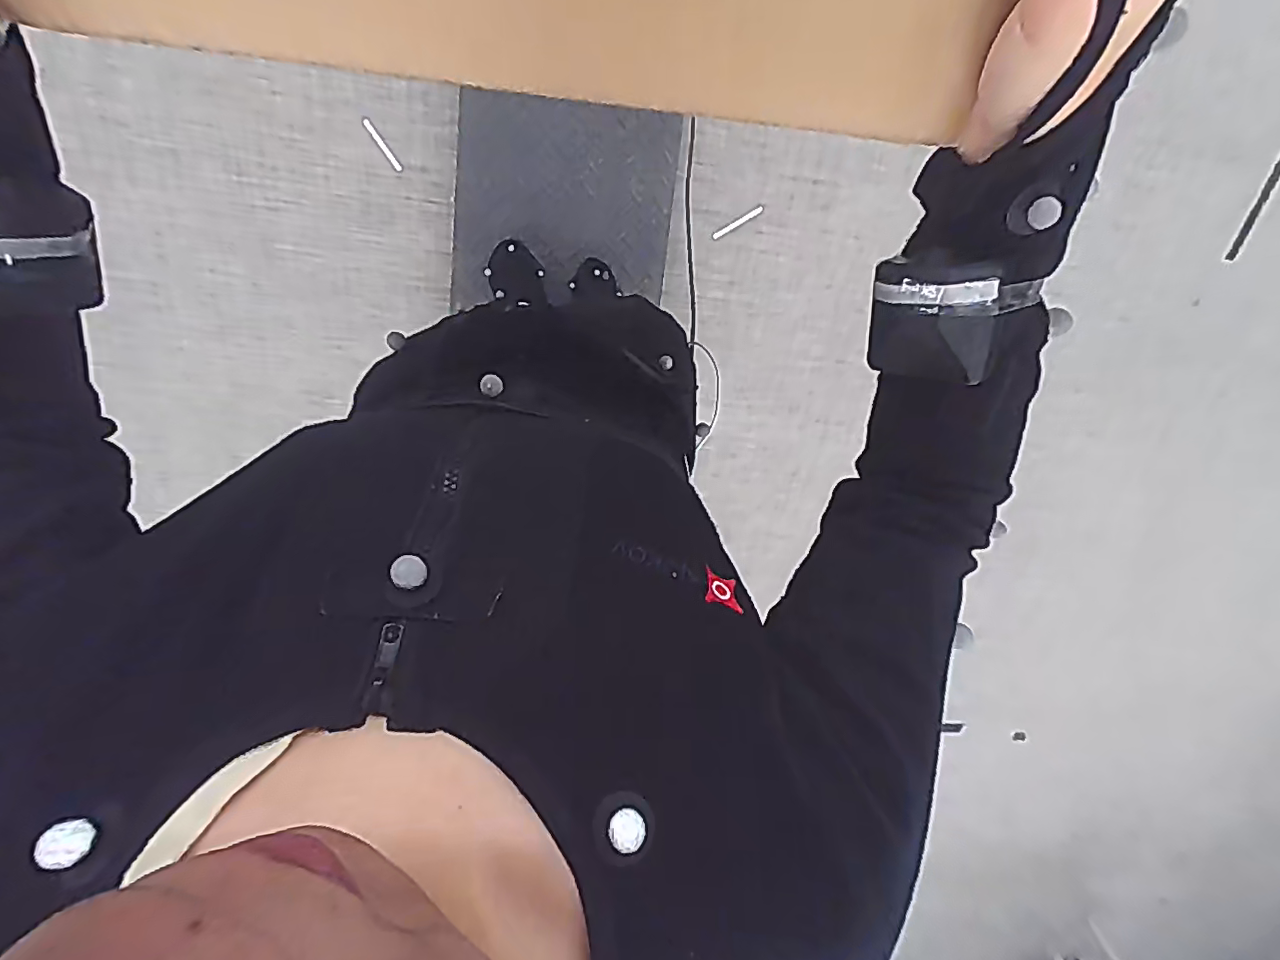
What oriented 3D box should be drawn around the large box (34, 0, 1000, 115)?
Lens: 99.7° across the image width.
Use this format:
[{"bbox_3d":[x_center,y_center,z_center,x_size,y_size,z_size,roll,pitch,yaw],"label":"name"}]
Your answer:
[{"bbox_3d":[-0.041,-0.393,0.242,0.408,0.320,0.320,3,134,-6],"label":"large box"}]
